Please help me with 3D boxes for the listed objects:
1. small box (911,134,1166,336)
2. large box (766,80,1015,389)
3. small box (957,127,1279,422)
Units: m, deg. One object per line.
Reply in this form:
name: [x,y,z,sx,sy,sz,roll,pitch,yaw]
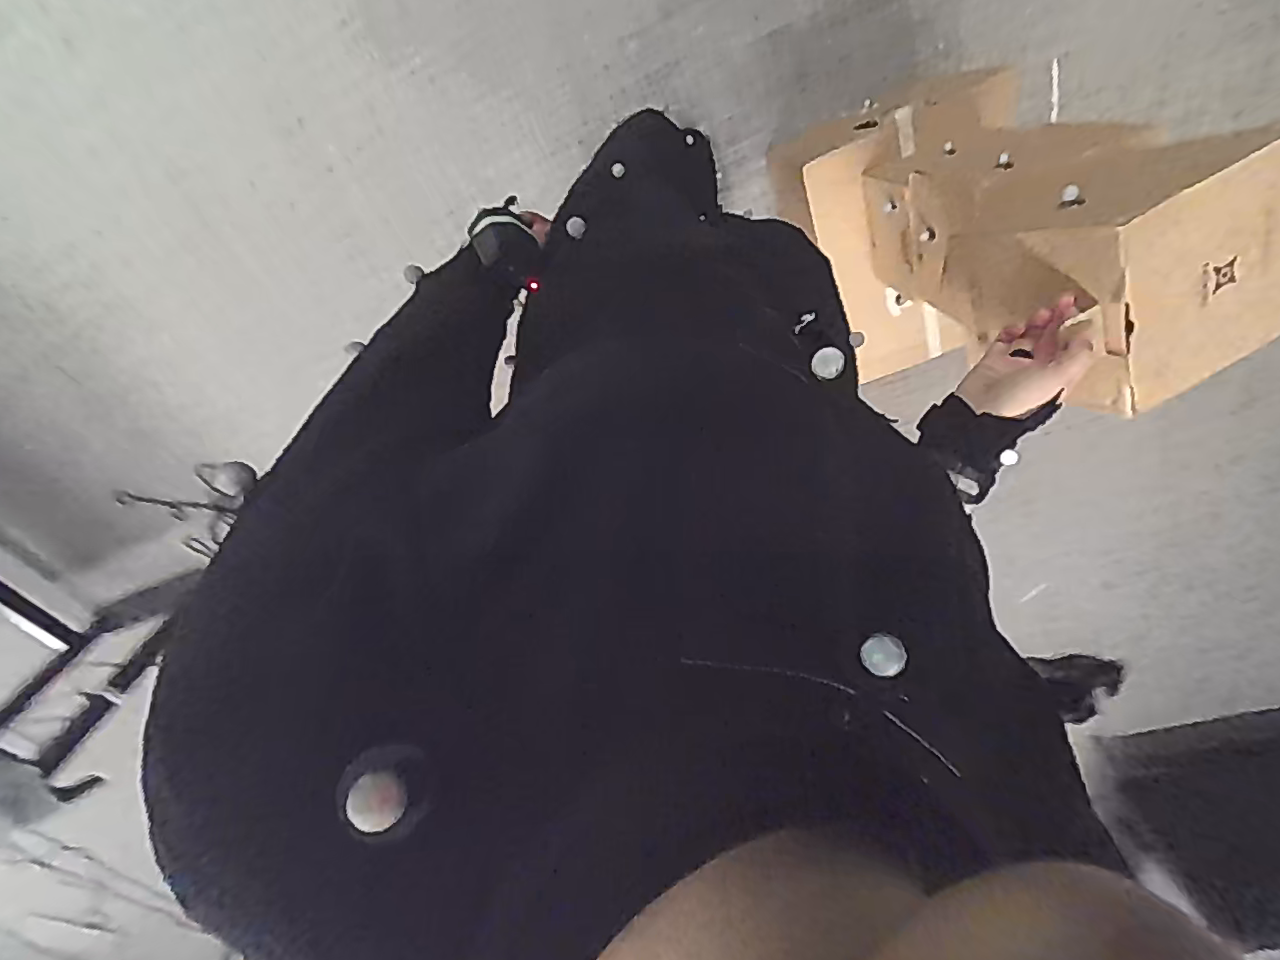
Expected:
small box: [0.448,-0.292,0.643,0.179,0.176,0.168,-15,123,10]
large box: [0.467,-0.455,1.023,0.320,0.320,0.408,-19,122,14]
small box: [0.418,-0.175,0.486,0.179,0.176,0.168,-30,114,-7]
